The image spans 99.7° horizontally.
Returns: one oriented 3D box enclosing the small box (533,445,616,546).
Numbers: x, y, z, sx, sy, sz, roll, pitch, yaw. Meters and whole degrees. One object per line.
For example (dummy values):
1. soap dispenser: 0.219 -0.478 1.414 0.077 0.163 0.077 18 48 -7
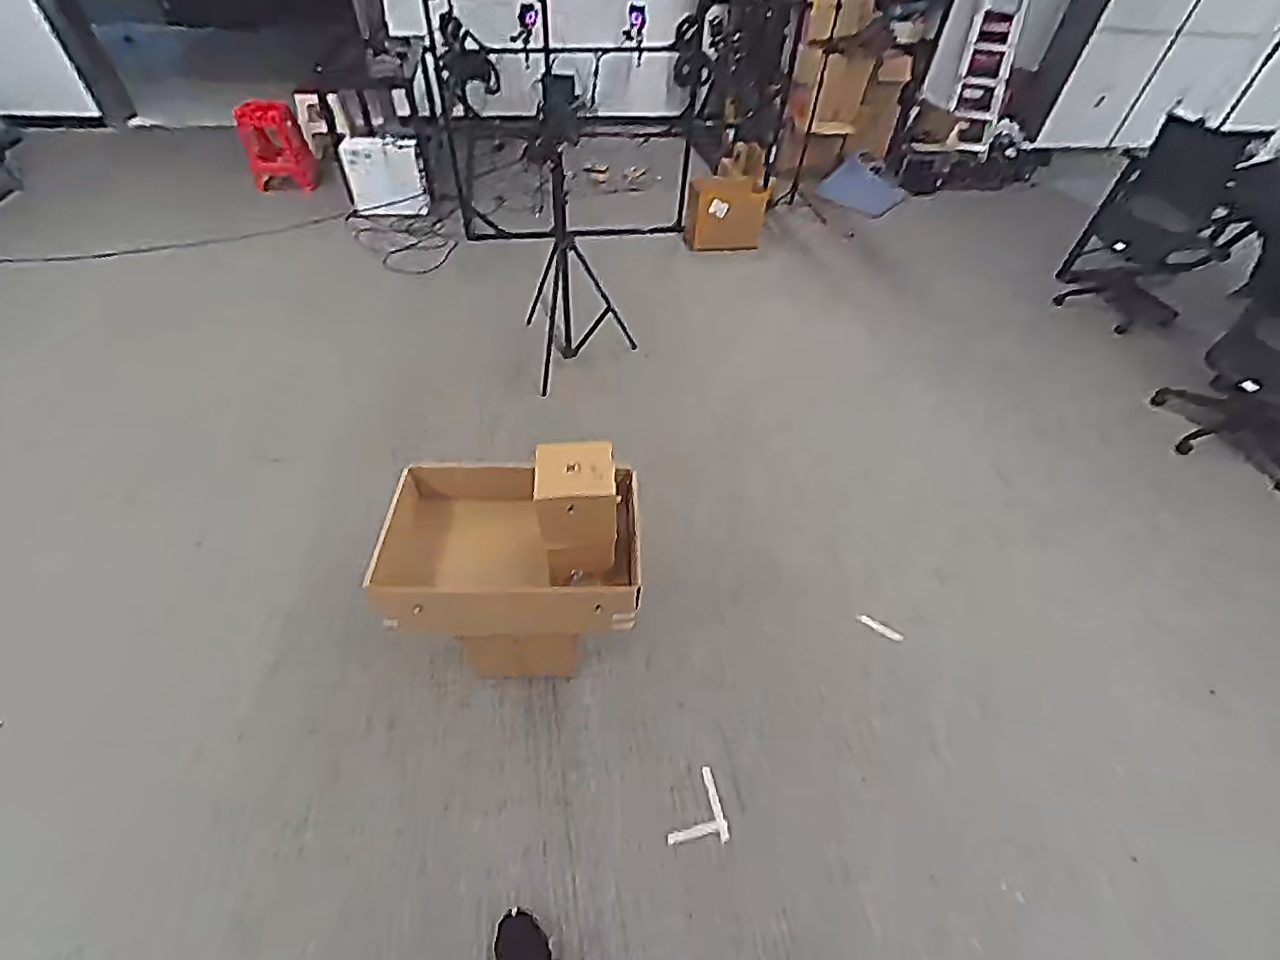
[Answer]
1. small box: -0.146 0.038 1.244 0.179 0.176 0.168 -3 47 -5
